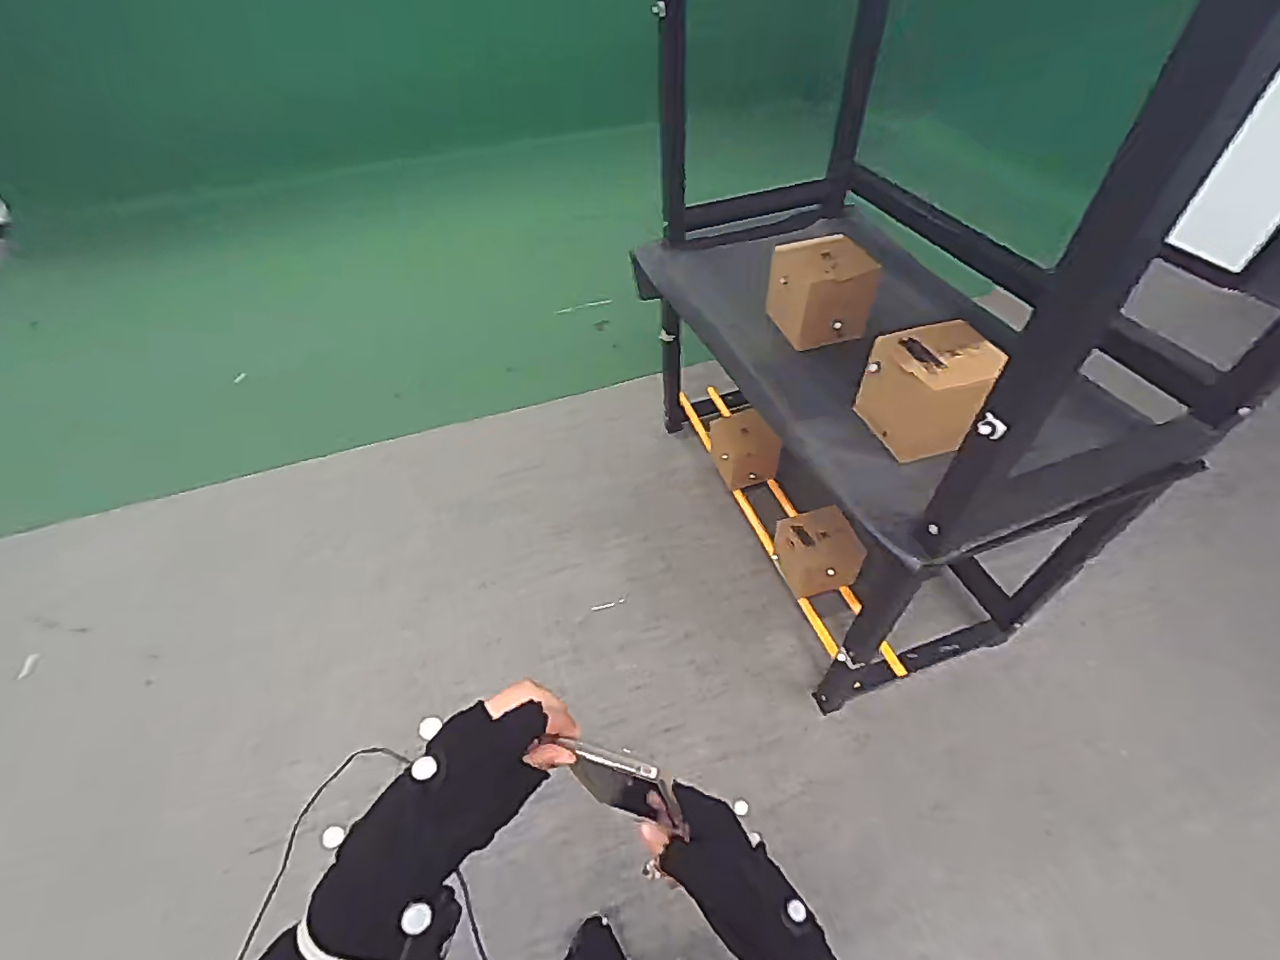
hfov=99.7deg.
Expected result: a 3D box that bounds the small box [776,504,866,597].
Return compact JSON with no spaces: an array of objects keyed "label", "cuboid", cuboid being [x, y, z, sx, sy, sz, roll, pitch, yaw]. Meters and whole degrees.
[{"label":"small box","cuboid":[0.487,0.198,1.488,0.179,0.176,0.168,-14,49,-7]}]

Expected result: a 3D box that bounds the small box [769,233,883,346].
[{"label":"small box","cuboid":[0.403,-0.426,1.212,0.168,0.176,0.179,-14,49,-8]}]
